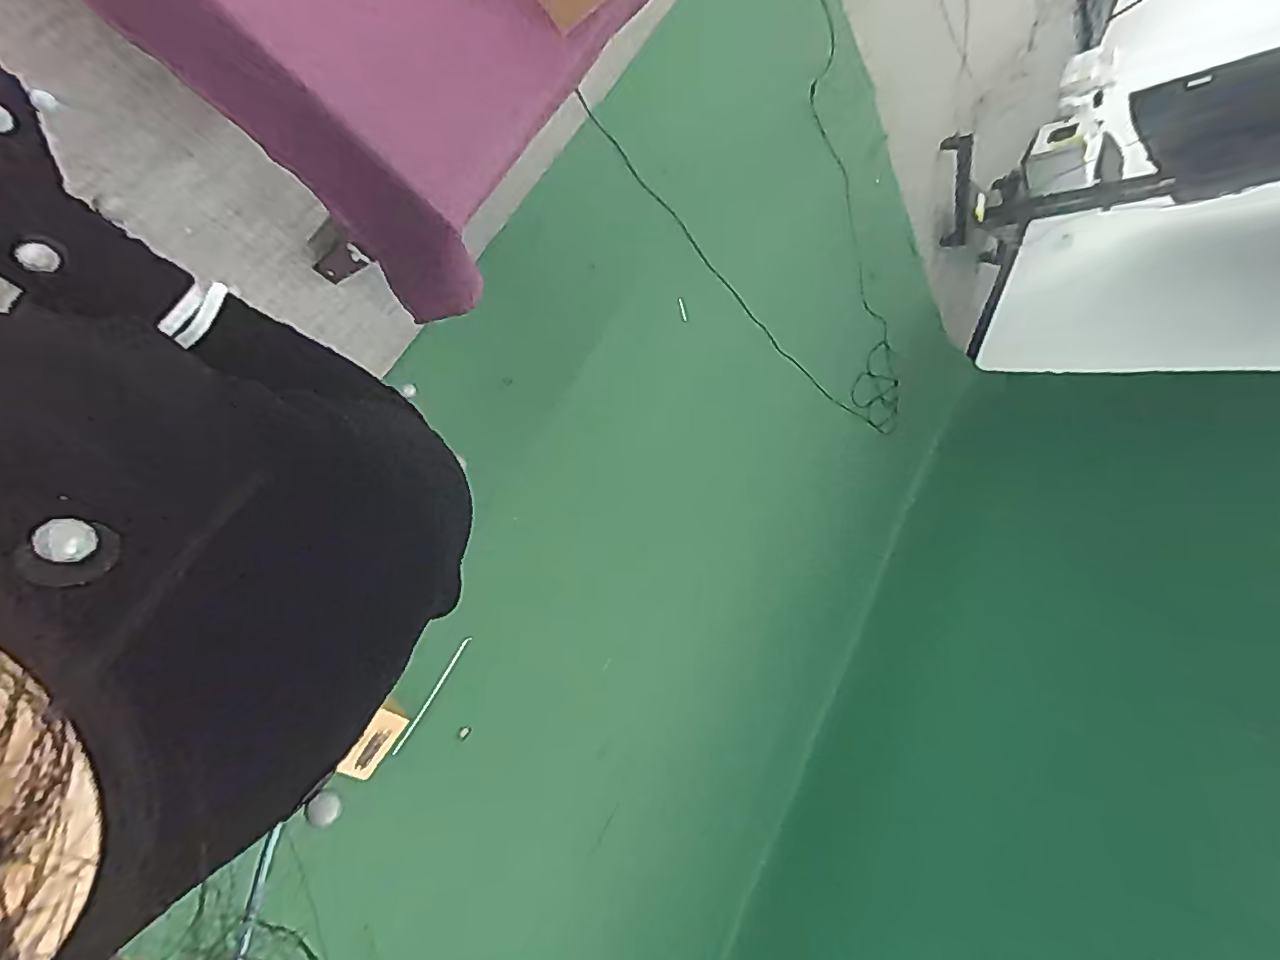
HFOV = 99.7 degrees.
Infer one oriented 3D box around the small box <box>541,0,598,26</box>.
[{"bbox_3d":[-0.074,-0.789,0.740,0.168,0.176,0.179,42,74,-37],"label":"small box"}]
